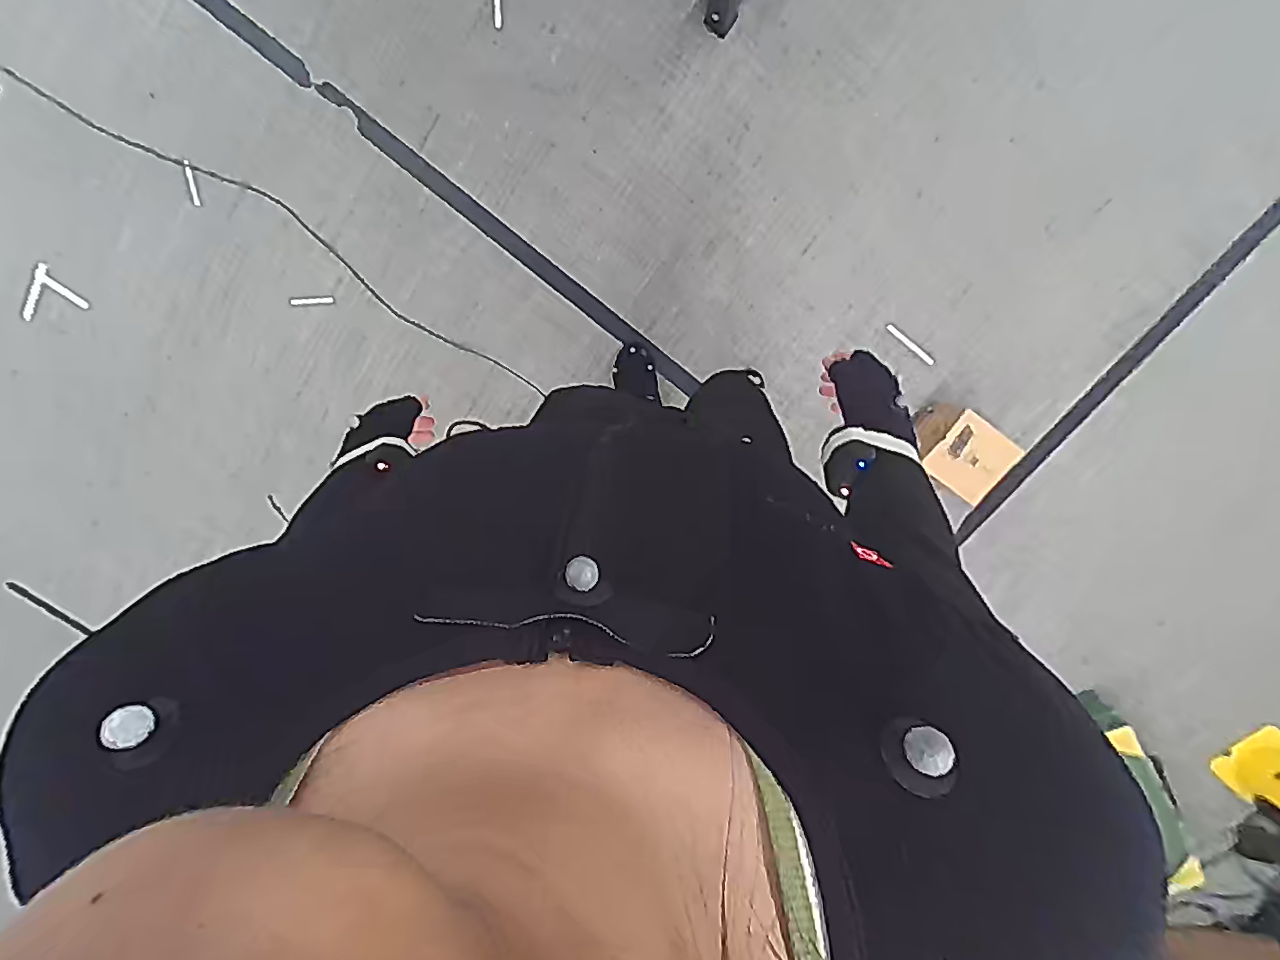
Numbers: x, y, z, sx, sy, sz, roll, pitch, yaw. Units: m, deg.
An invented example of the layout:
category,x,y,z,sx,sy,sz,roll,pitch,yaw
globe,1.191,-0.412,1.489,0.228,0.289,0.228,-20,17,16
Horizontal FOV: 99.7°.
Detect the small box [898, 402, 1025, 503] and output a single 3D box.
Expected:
category,x,y,z,sx,sy,sz,roll,pitch,yaw
small box,0.775,-0.076,1.327,0.179,0.176,0.168,35,106,-6
